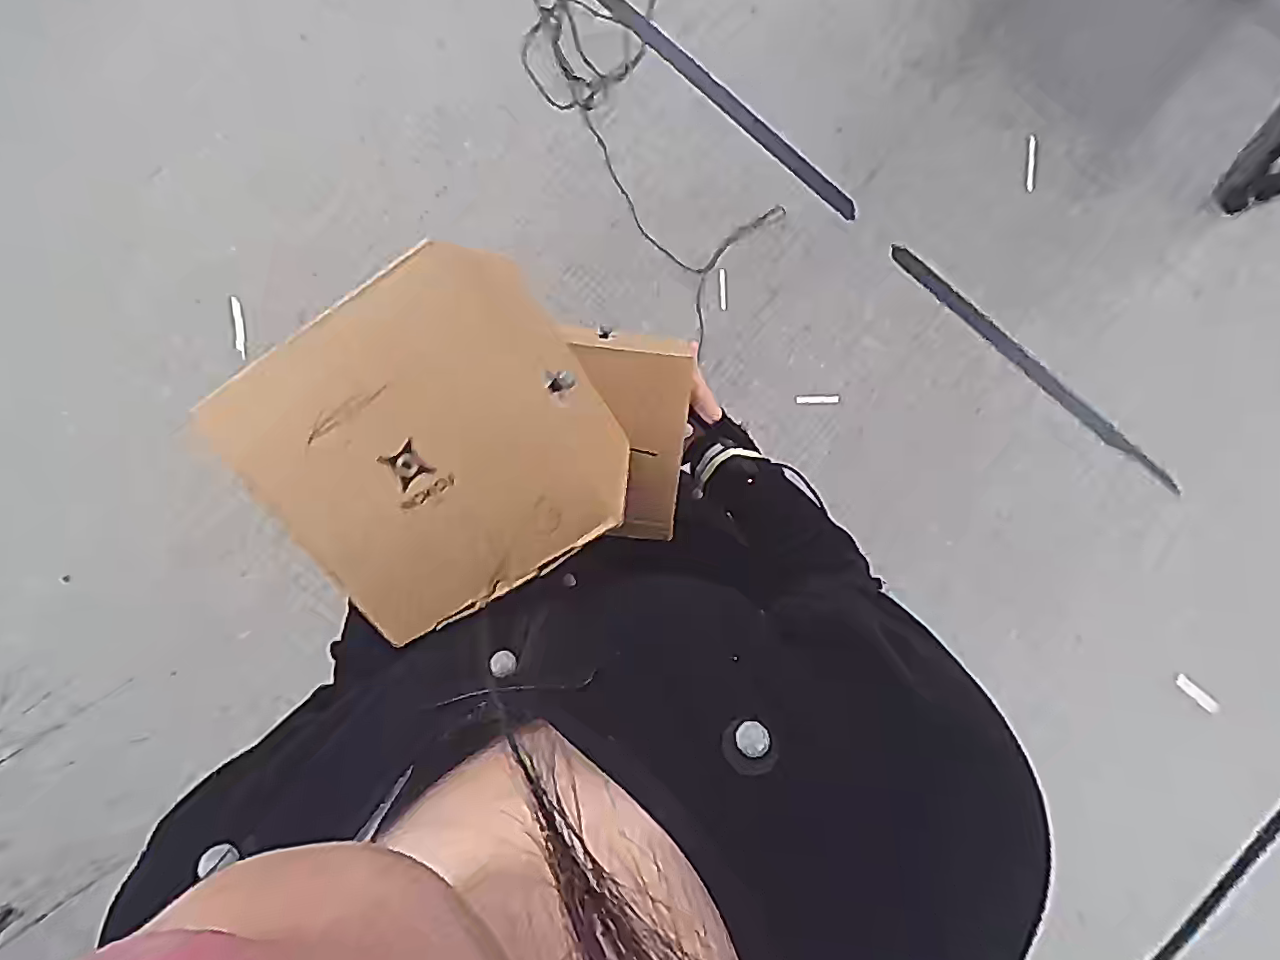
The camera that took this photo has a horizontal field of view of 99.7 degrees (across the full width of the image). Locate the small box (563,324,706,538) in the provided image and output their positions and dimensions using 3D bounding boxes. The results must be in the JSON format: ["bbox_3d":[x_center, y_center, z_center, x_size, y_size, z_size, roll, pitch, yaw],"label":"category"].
[{"bbox_3d":[-0.042,-0.060,0.536,0.179,0.176,0.168,7,109,-3],"label":"small box"}]

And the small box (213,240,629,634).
[{"bbox_3d":[-0.116,-0.037,0.373,0.168,0.176,0.179,-29,106,9],"label":"small box"}]
